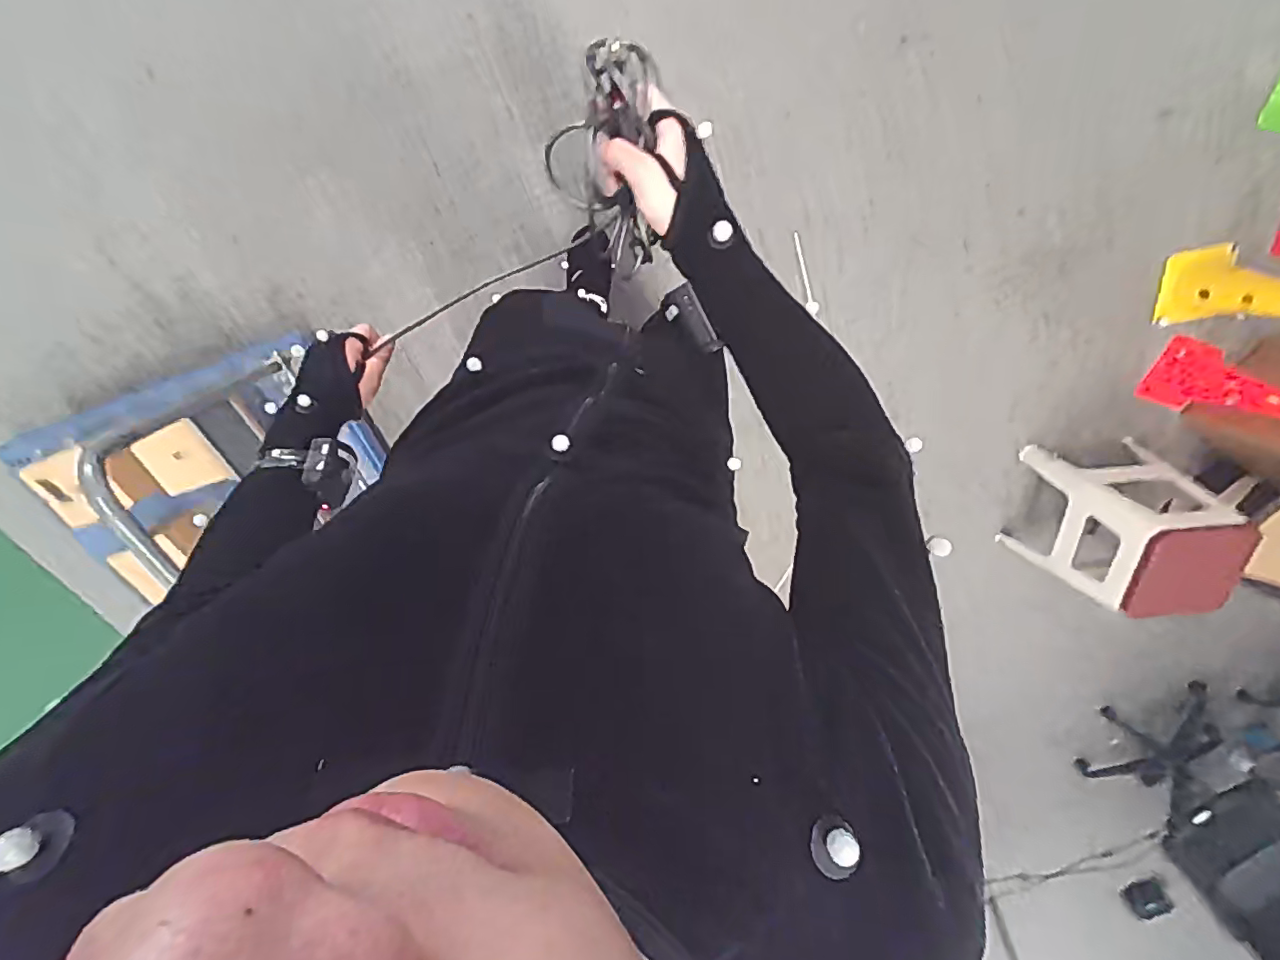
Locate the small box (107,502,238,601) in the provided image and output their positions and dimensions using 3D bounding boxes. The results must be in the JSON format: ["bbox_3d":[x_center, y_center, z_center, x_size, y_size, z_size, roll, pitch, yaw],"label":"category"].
[{"bbox_3d":[-1.217,0.182,1.433,0.179,0.176,0.168,-22,116,6],"label":"small box"}]

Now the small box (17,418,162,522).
[{"bbox_3d":[-1.306,-0.029,1.317,0.179,0.176,0.168,-20,117,5],"label":"small box"}]

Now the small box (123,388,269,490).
[{"bbox_3d":[-1.055,-0.104,1.303,0.179,0.176,0.168,-17,117,3],"label":"small box"}]
